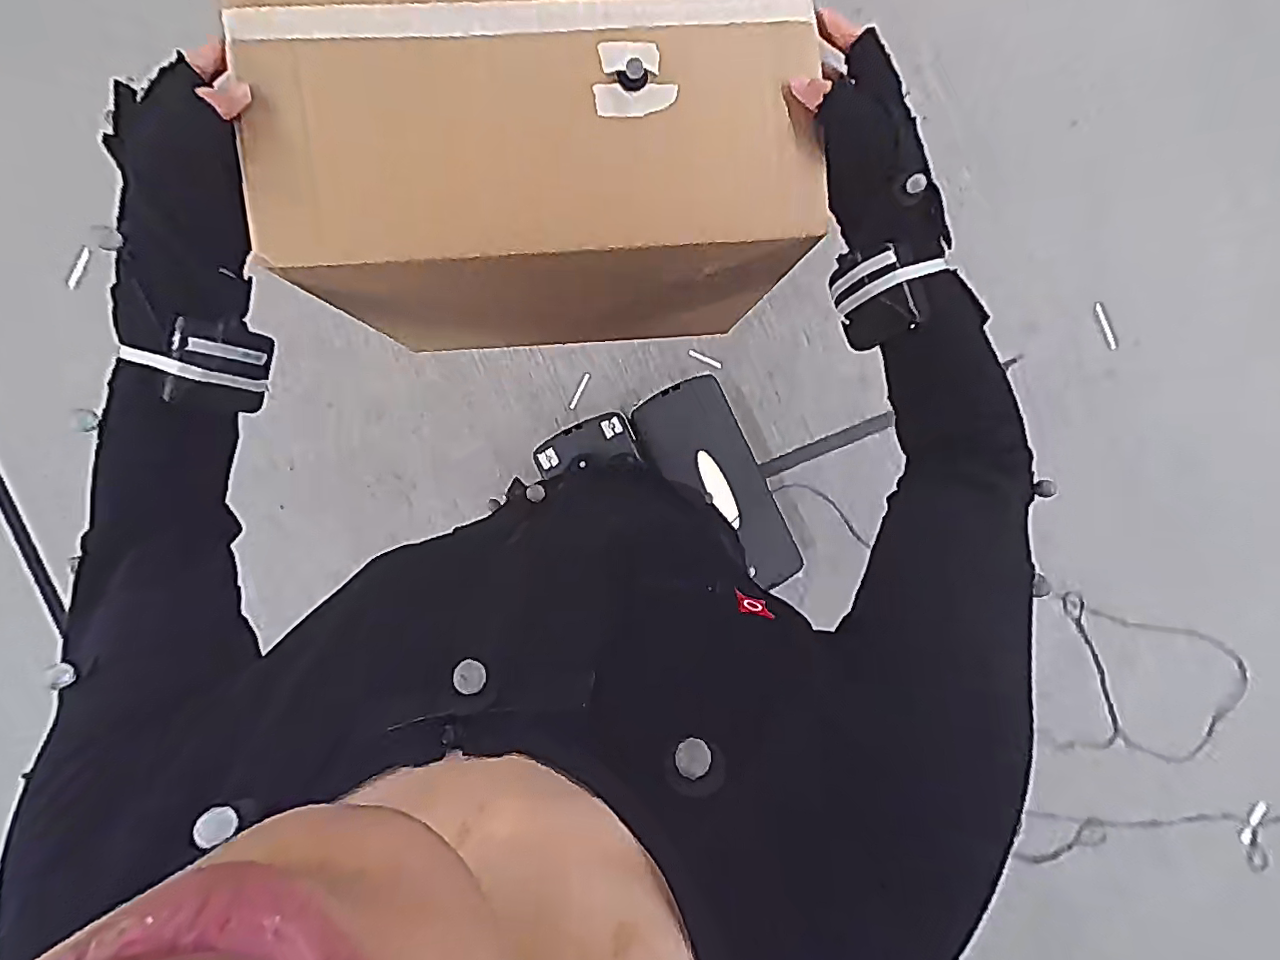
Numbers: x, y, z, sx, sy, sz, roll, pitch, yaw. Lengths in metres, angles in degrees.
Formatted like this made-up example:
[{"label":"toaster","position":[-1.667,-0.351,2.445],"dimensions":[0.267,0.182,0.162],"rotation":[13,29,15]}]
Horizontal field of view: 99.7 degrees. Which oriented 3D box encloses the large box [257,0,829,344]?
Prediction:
[{"label":"large box","position":[-0.080,-0.333,0.535],"dimensions":[0.408,0.320,0.320],"rotation":[-5,94,-5]}]
